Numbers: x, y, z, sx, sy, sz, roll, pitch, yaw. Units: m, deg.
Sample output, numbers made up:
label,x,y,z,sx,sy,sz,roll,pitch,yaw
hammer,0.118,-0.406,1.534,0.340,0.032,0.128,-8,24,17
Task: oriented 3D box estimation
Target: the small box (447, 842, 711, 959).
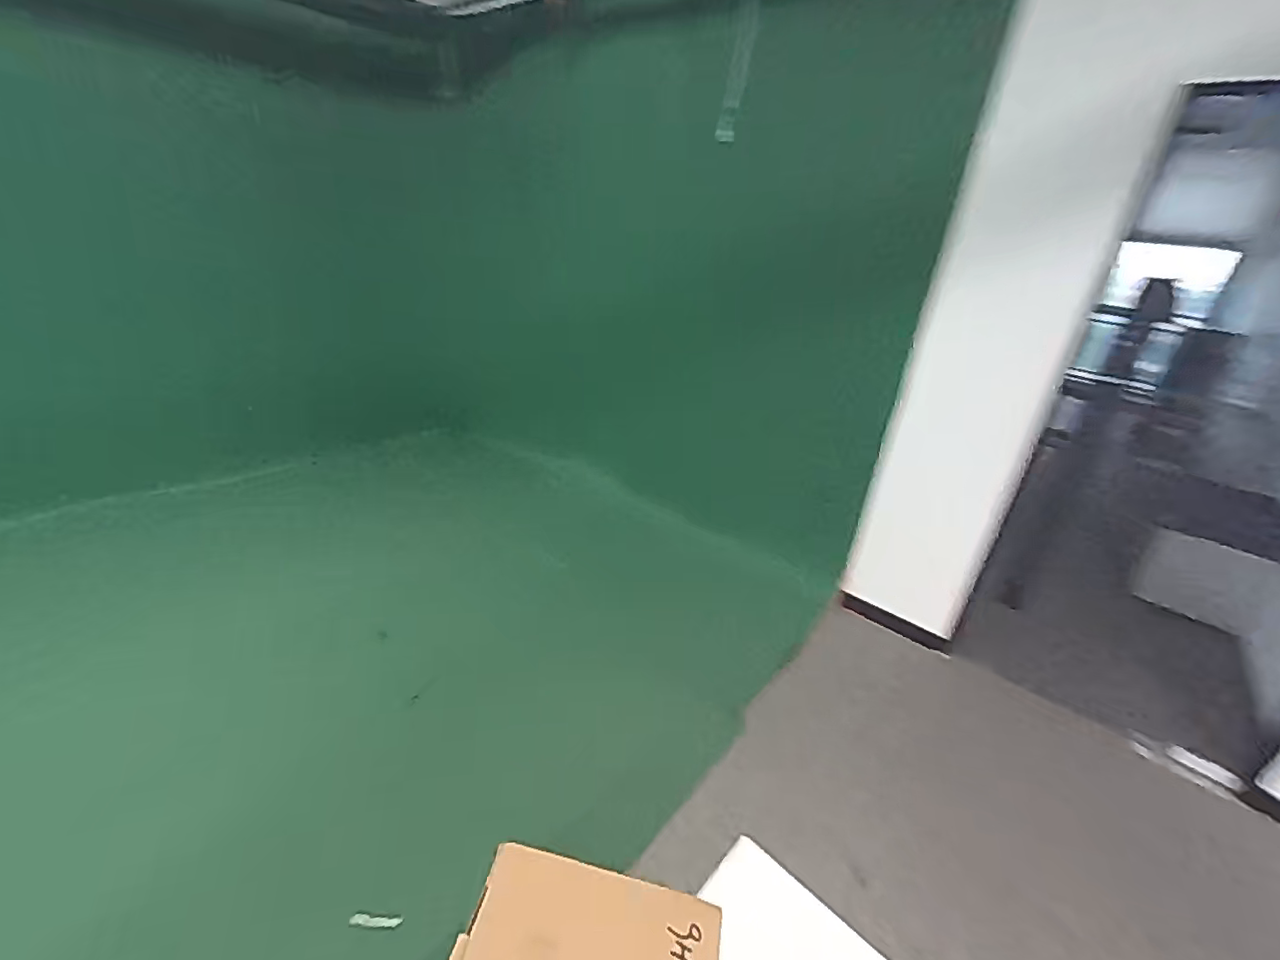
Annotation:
label,x,y,z,sx,sy,sz,roll,pitch,yaw
small box,-0.056,0.406,0.392,0.179,0.176,0.168,12,36,5
